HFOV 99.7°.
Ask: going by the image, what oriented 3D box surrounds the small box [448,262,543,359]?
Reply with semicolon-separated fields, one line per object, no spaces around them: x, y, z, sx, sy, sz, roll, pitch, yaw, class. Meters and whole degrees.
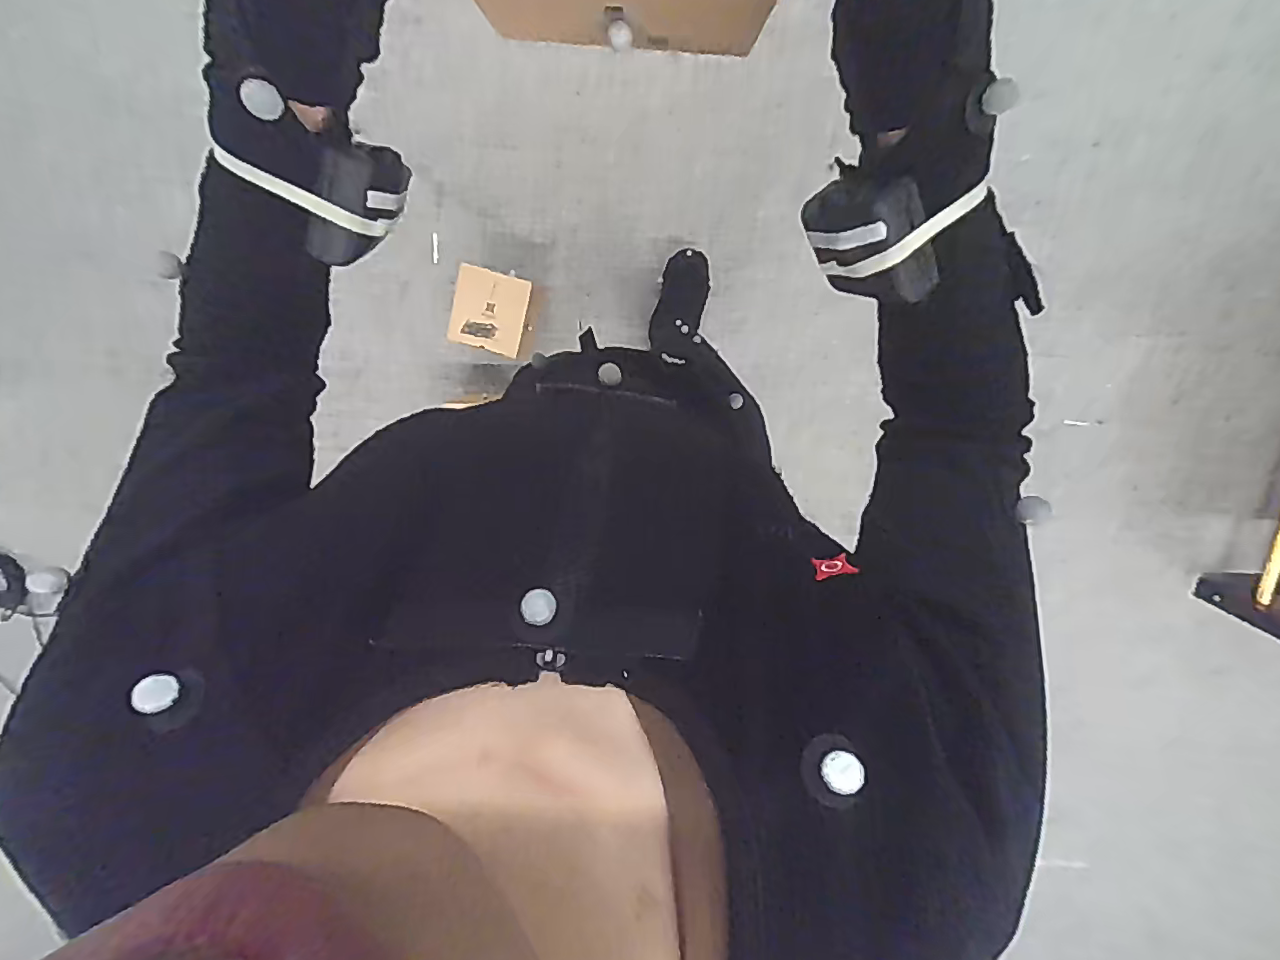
-0.339;-0.401;1.294;0.168;0.176;0.179;15;105;-4;small box
